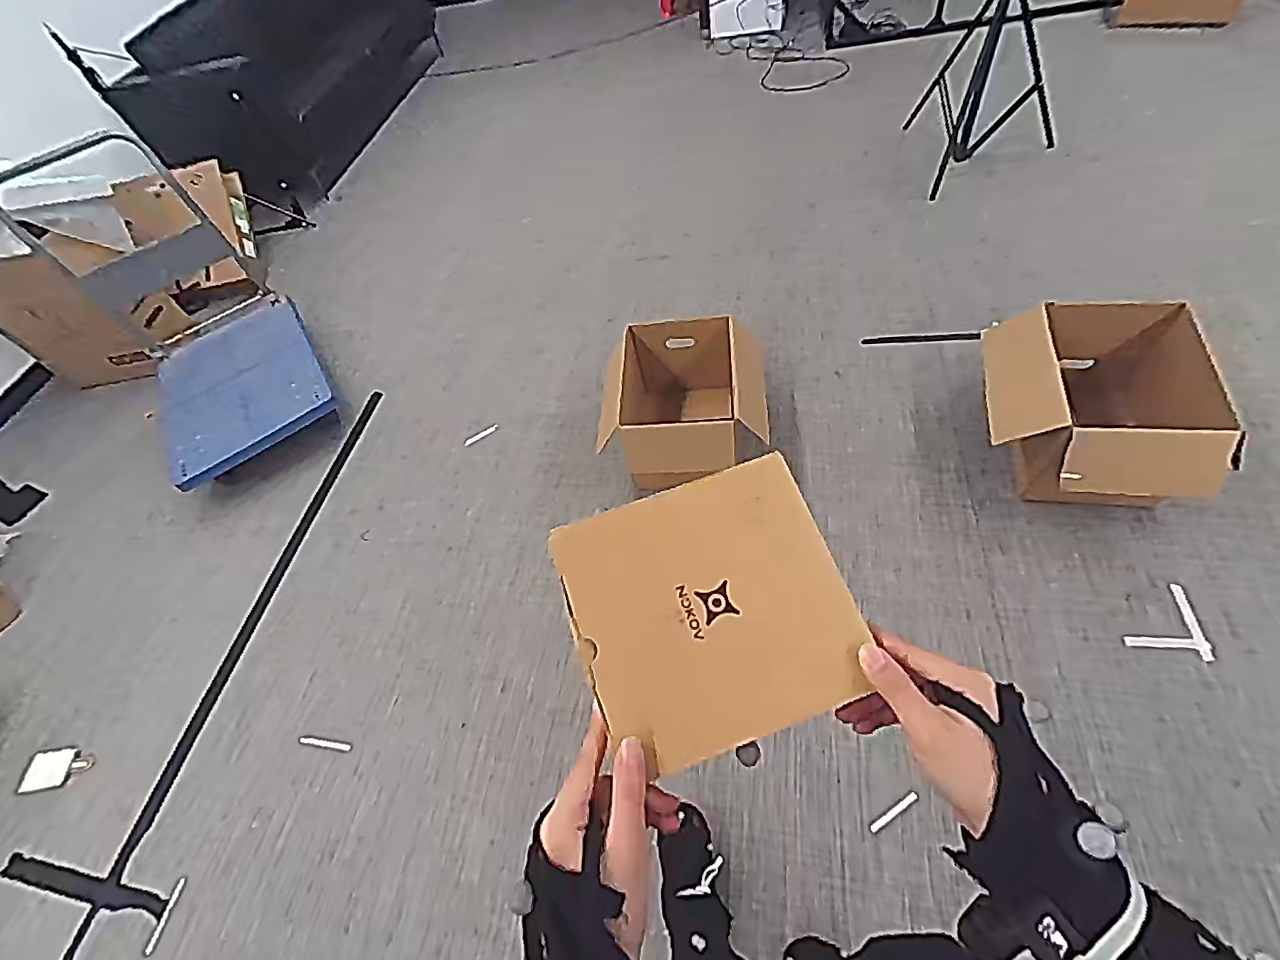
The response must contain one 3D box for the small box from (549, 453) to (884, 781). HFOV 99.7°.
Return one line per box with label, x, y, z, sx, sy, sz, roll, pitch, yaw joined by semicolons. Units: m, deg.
small box;0.047;0.105;0.423;0.179;0.176;0.168;-19;70;-3
